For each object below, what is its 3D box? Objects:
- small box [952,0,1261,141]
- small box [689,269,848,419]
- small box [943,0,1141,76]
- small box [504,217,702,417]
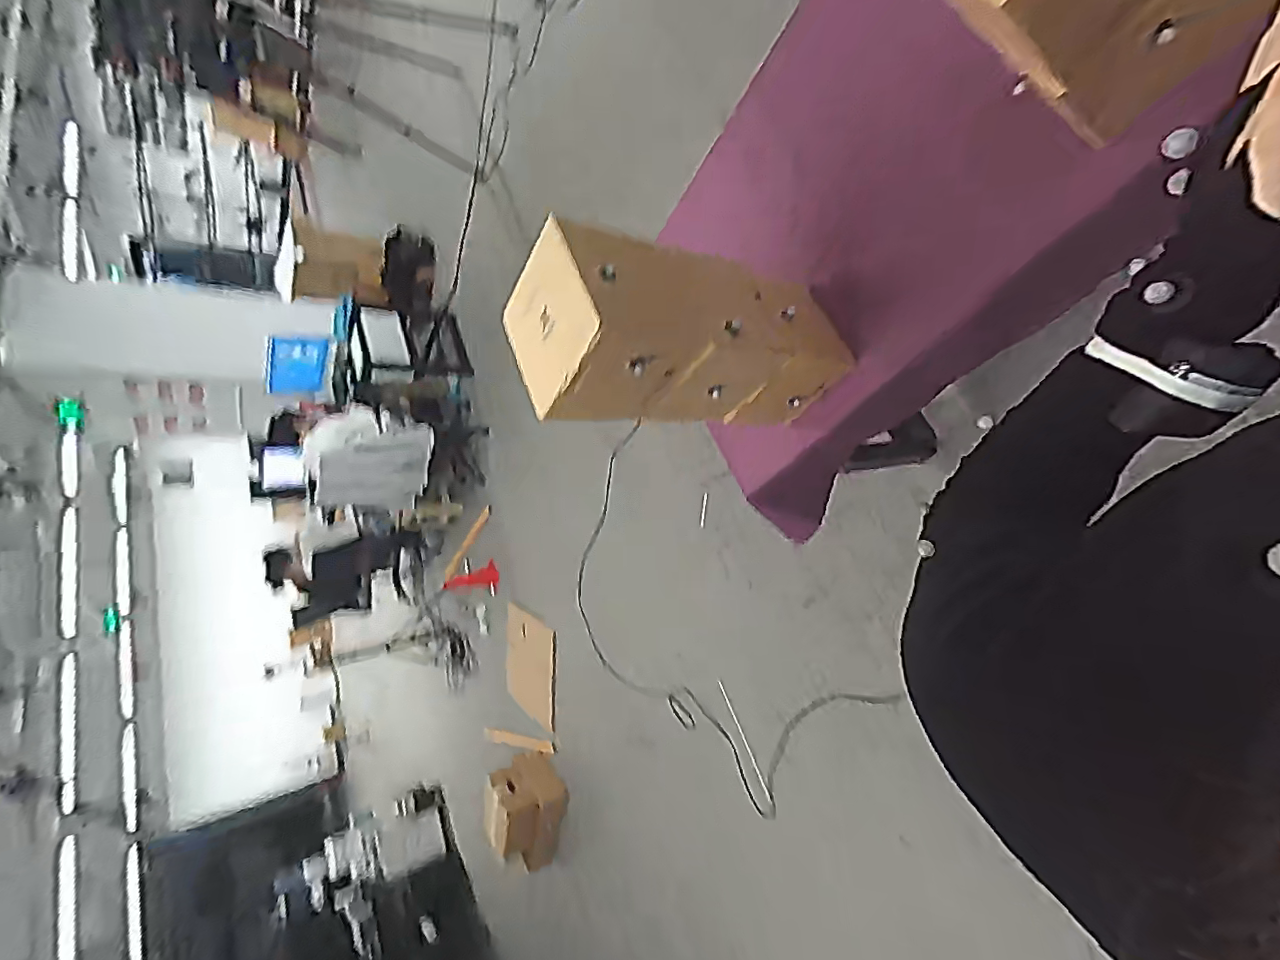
[{"bbox_3d":[0.468,-0.484,0.540,0.179,0.176,0.168,-46,60,44],"label":"small box"},{"bbox_3d":[0.206,-0.215,0.902,0.168,0.176,0.179,-46,60,43],"label":"small box"},{"bbox_3d":[0.336,-0.480,0.441,0.168,0.176,0.179,-49,58,43],"label":"small box"},{"bbox_3d":[-0.050,-0.198,0.697,0.168,0.176,0.179,-44,60,44],"label":"small box"}]
